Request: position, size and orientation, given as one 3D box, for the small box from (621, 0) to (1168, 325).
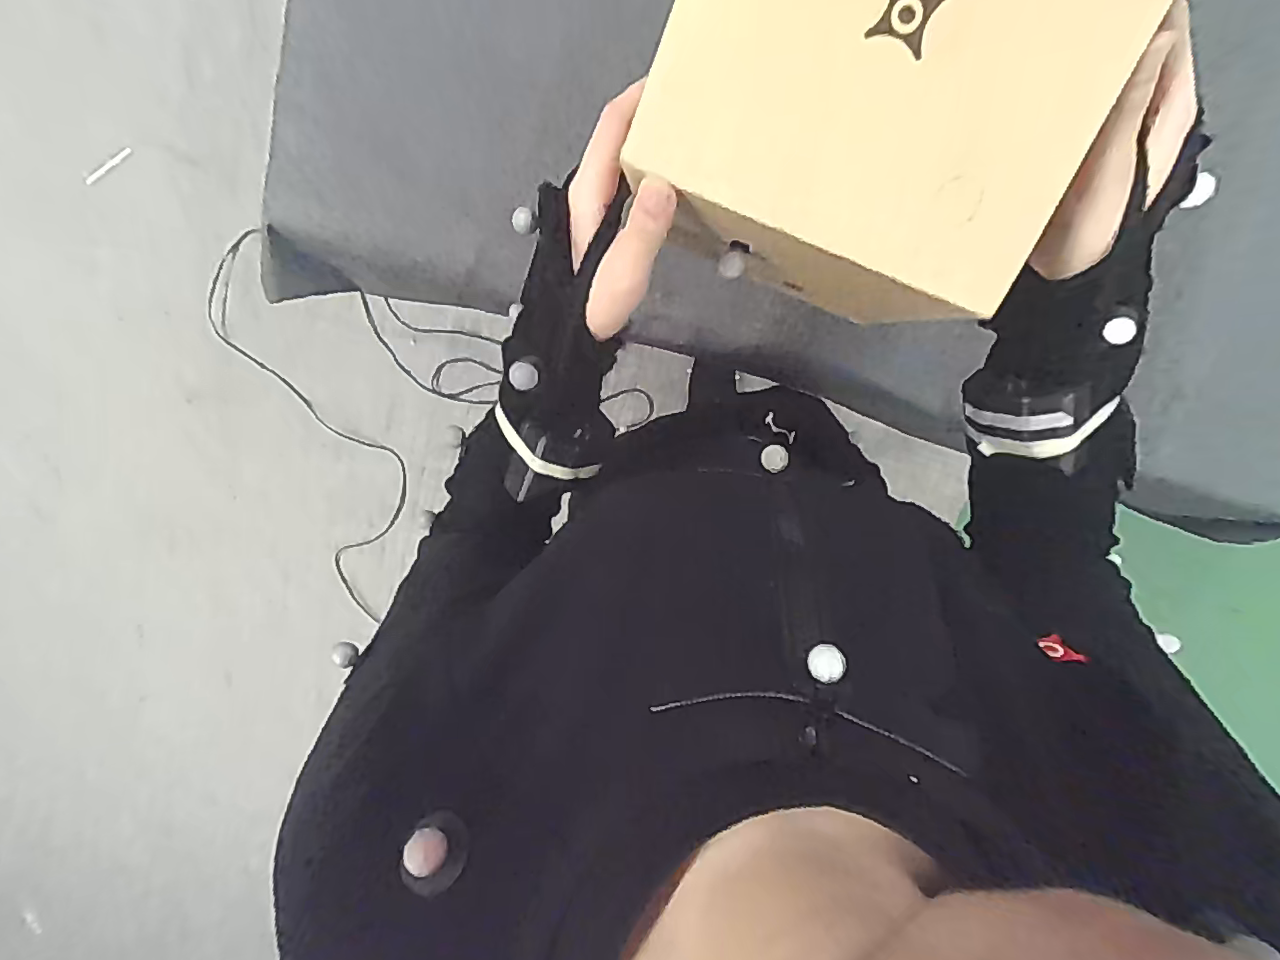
[{"bbox_3d":[0.106,-0.190,0.275,0.168,0.176,0.179,22,104,0],"label":"small box"}]
